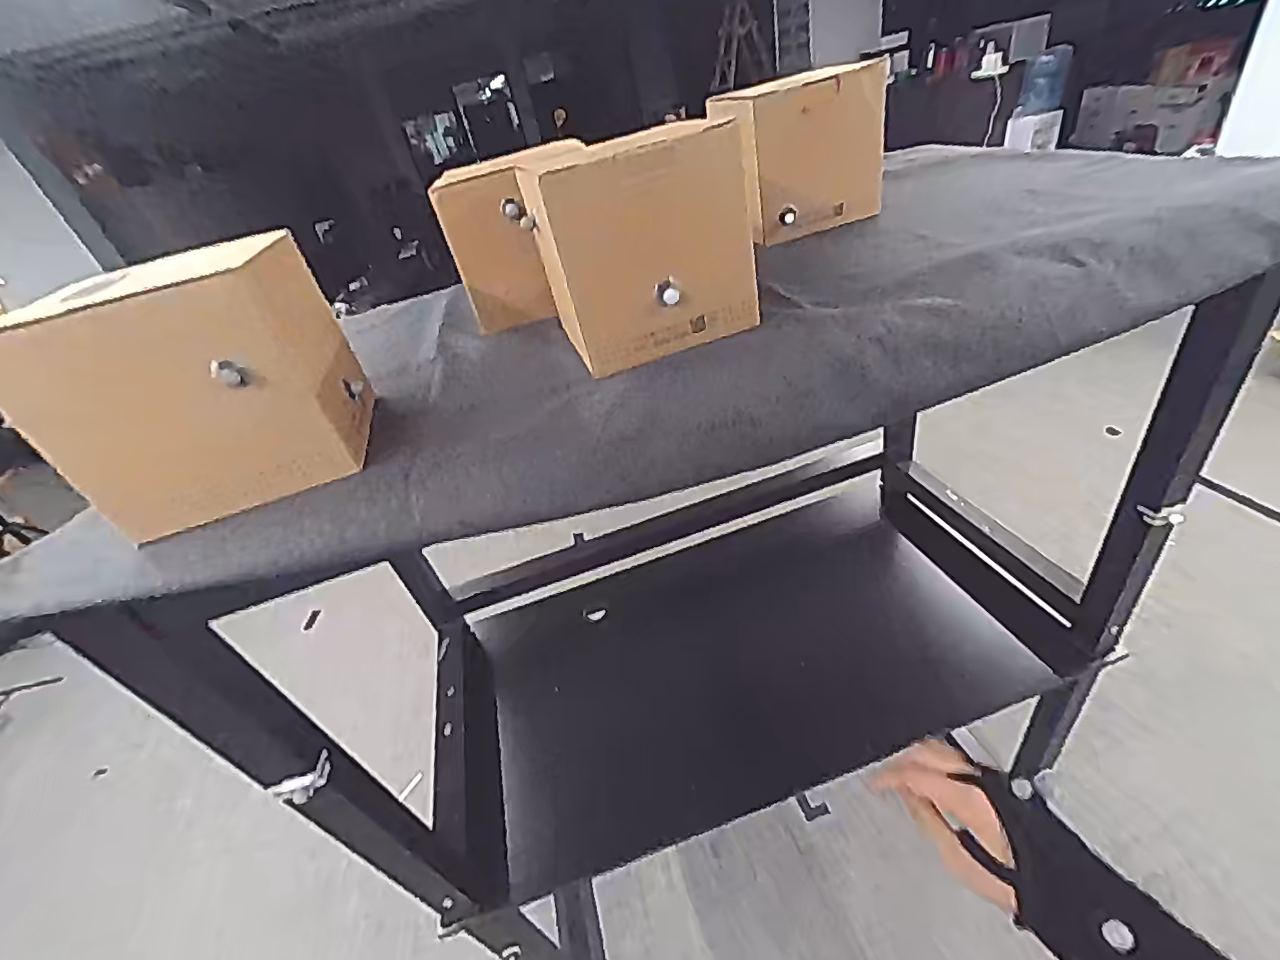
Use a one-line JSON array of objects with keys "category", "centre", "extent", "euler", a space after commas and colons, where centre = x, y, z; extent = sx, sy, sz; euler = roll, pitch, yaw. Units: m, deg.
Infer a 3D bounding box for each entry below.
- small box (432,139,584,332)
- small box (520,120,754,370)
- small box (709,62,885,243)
[{"category": "small box", "centre": [-0.134, -0.308, 0.680], "extent": [0.179, 0.176, 0.168], "euler": [-16, 36, -1]}, {"category": "small box", "centre": [-0.004, -0.226, 0.519], "extent": [0.168, 0.176, 0.179], "euler": [-19, 35, -7]}, {"category": "small box", "centre": [0.206, -0.435, 0.730], "extent": [0.168, 0.176, 0.179], "euler": [-17, 35, -3]}]
